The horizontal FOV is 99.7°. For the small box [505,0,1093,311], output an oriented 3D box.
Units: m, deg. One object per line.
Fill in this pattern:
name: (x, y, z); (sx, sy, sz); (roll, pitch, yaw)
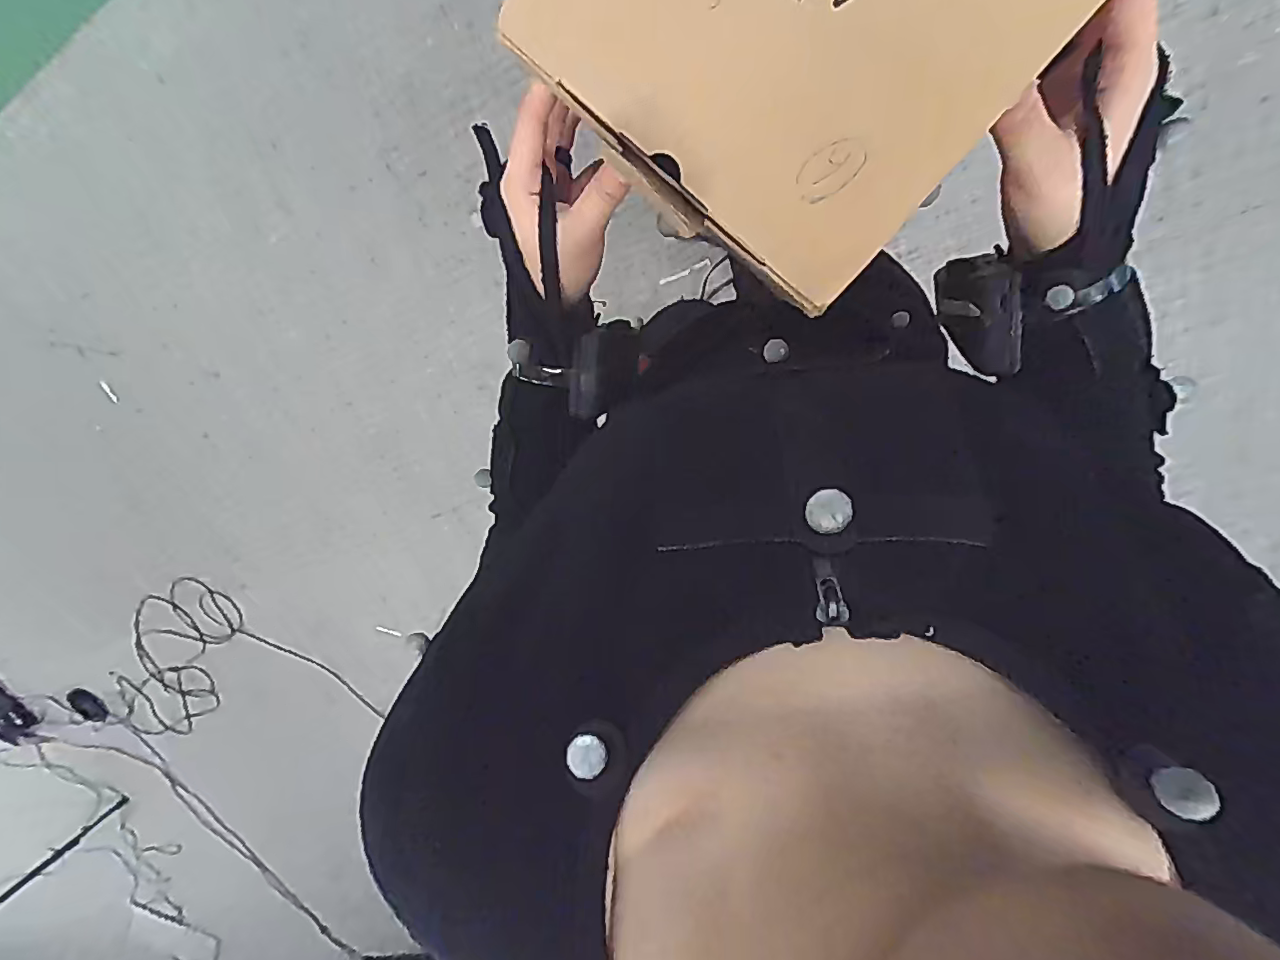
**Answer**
small box: (0.075, -0.207, 0.258); (0.168, 0.176, 0.179); (39, 113, -5)
